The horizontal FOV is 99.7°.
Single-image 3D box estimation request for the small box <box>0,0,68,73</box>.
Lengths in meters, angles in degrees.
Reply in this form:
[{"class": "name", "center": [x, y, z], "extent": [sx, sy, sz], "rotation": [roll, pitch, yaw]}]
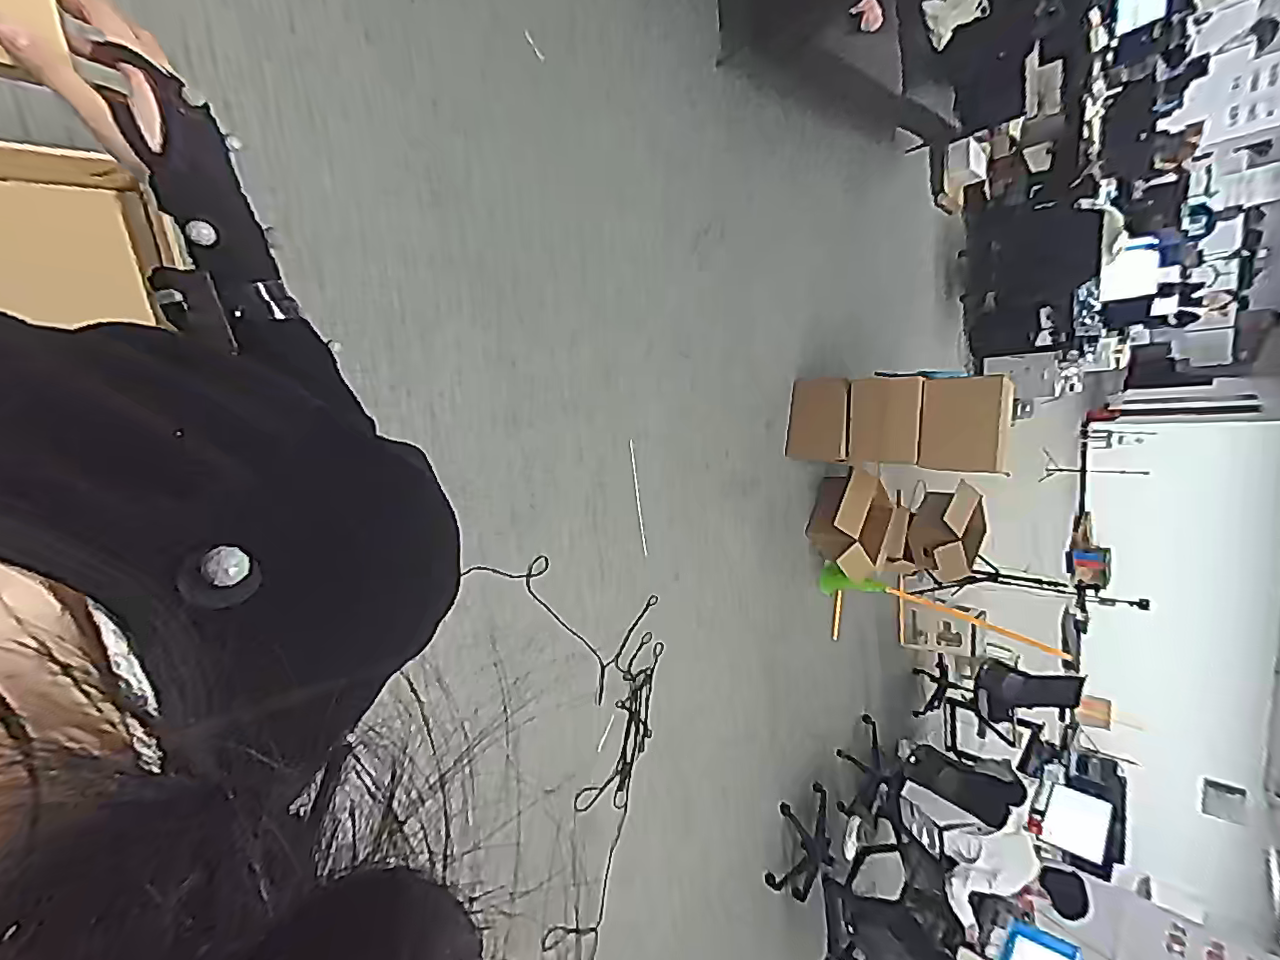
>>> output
[{"class": "small box", "center": [-0.456, -0.343, 0.294], "extent": [0.179, 0.176, 0.168], "rotation": [-15, 126, -43]}]
